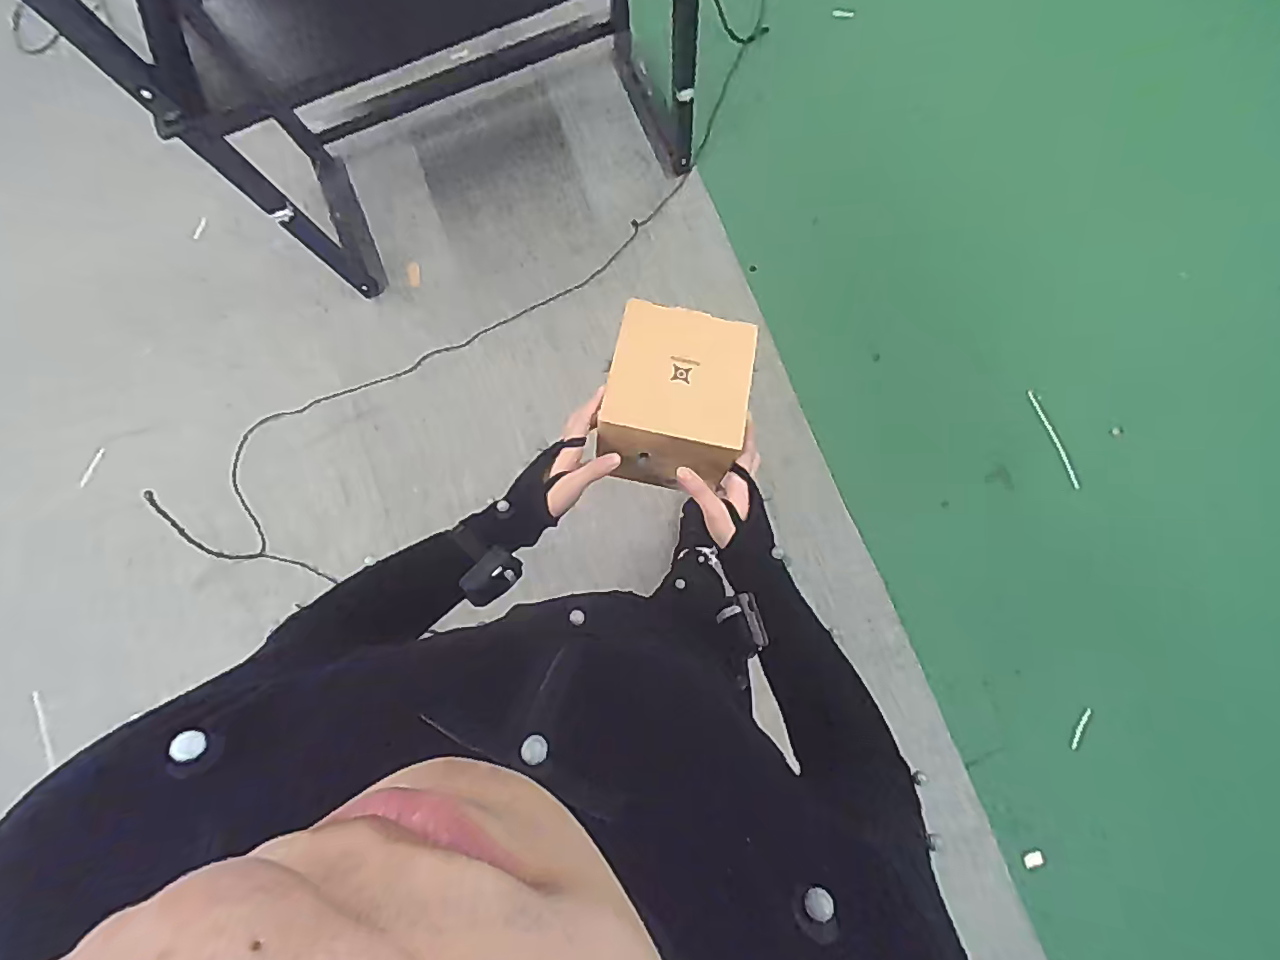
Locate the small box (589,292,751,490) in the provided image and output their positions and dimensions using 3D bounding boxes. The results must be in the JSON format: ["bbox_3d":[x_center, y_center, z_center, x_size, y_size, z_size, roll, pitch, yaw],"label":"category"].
[{"bbox_3d":[0.033,-0.103,0.694,0.168,0.176,0.179,11,67,-2],"label":"small box"}]
